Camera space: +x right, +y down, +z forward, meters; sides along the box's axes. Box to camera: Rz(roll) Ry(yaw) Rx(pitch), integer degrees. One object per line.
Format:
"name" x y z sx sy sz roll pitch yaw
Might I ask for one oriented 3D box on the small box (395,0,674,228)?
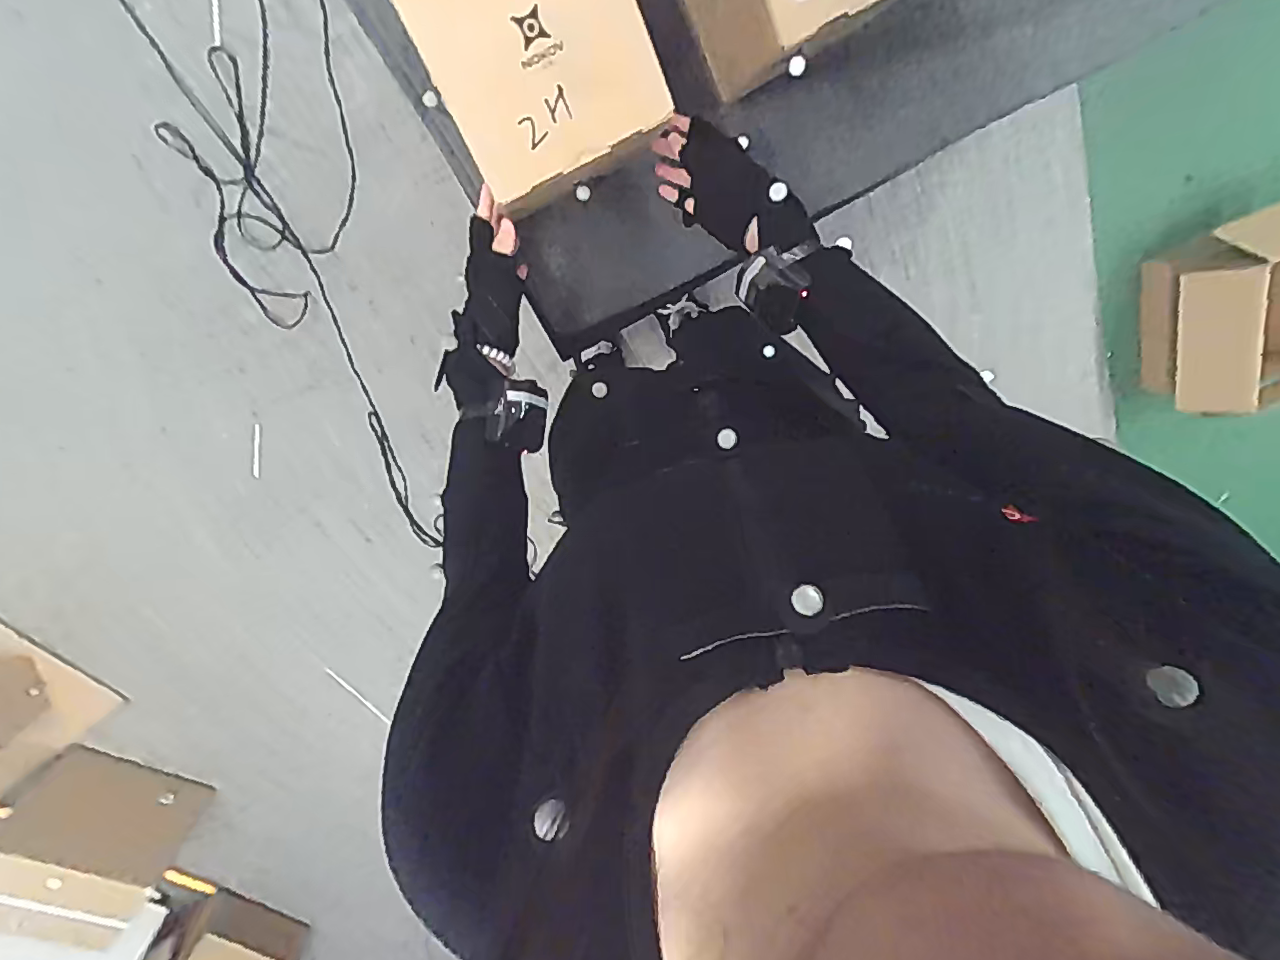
"small box" -0.091 -0.354 0.489 0.168 0.176 0.179 -26 111 2
